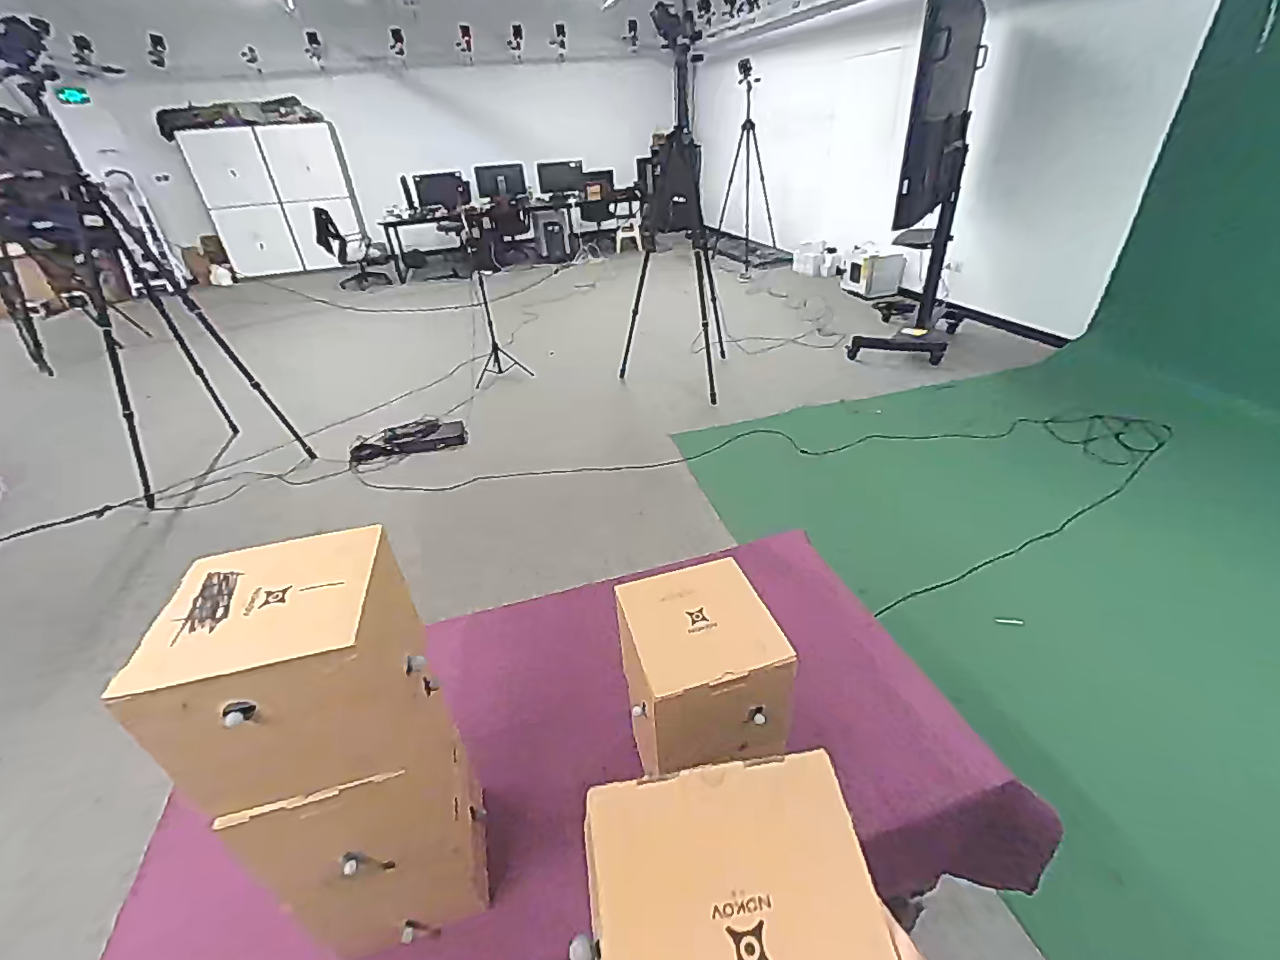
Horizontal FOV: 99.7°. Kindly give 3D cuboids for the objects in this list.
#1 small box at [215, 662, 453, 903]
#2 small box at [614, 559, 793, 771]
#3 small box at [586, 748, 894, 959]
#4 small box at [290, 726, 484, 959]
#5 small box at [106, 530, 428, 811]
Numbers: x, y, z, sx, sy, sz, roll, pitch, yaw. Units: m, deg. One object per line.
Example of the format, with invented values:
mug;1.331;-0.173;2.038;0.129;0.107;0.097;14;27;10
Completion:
small box;-0.313;0.314;0.600;0.168;0.176;0.179;-12;34;-11
small box;0.073;0.234;0.681;0.168;0.176;0.179;-12;34;-12
small box;0.053;0.306;0.370;0.168;0.176;0.179;-4;52;-10
small box;-0.301;0.455;0.686;0.179;0.176;0.168;-12;33;-13
small box;-0.318;0.175;0.512;0.179;0.176;0.168;-10;33;-11
